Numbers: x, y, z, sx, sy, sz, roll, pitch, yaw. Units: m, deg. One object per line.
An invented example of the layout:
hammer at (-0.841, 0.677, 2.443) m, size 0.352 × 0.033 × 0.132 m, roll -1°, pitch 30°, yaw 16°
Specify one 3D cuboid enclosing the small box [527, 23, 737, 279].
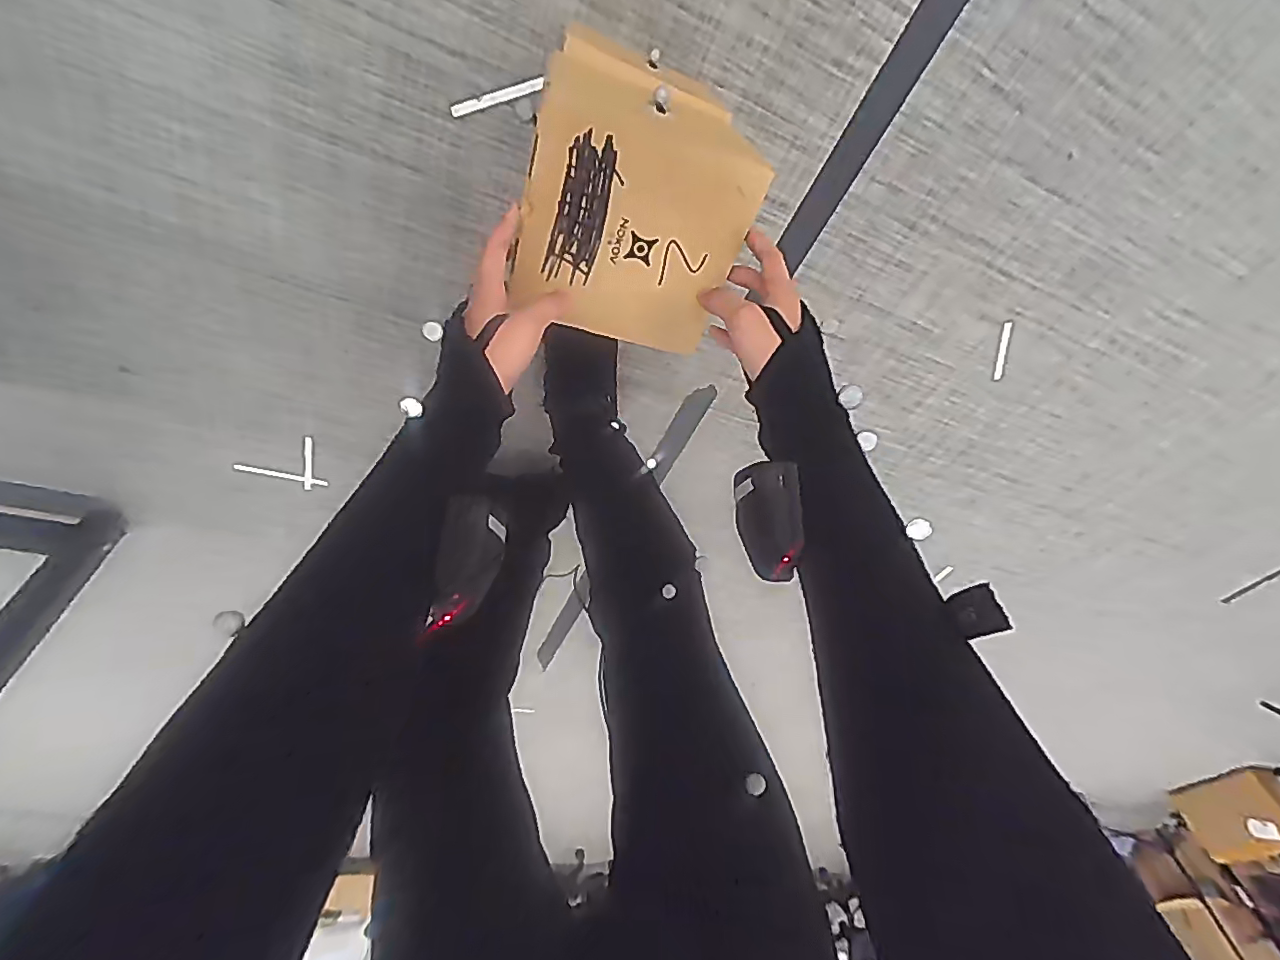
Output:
small box at (-0.020, -0.361, 0.596) m, size 0.168 × 0.176 × 0.179 m, roll 14°, pitch 132°, yaw -18°
